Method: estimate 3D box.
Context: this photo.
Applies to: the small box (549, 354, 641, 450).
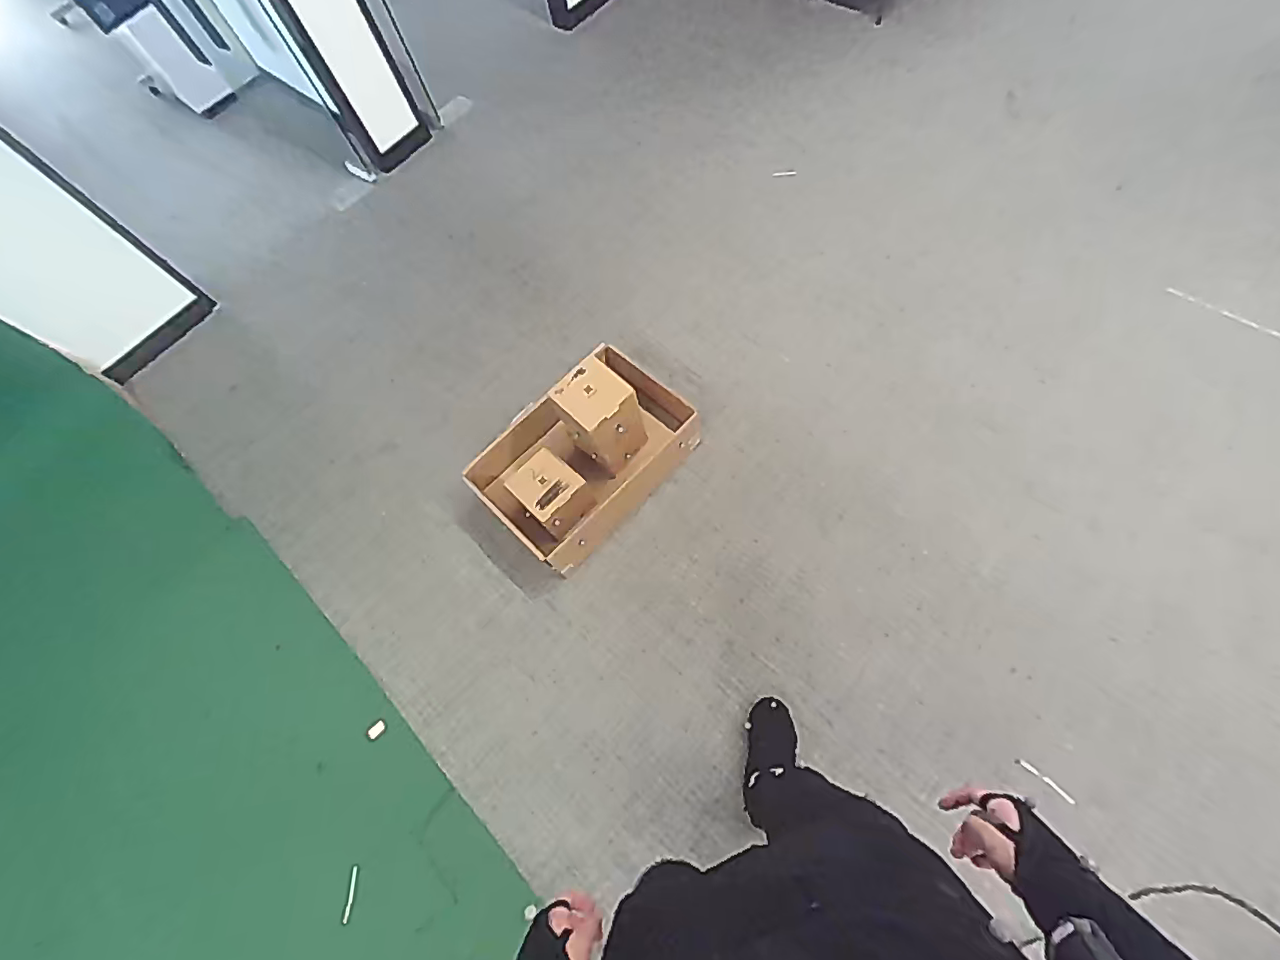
[{"bbox_3d":[-0.114,-0.204,1.483,0.168,0.176,0.179,-43,70,-9],"label":"small box"}]
